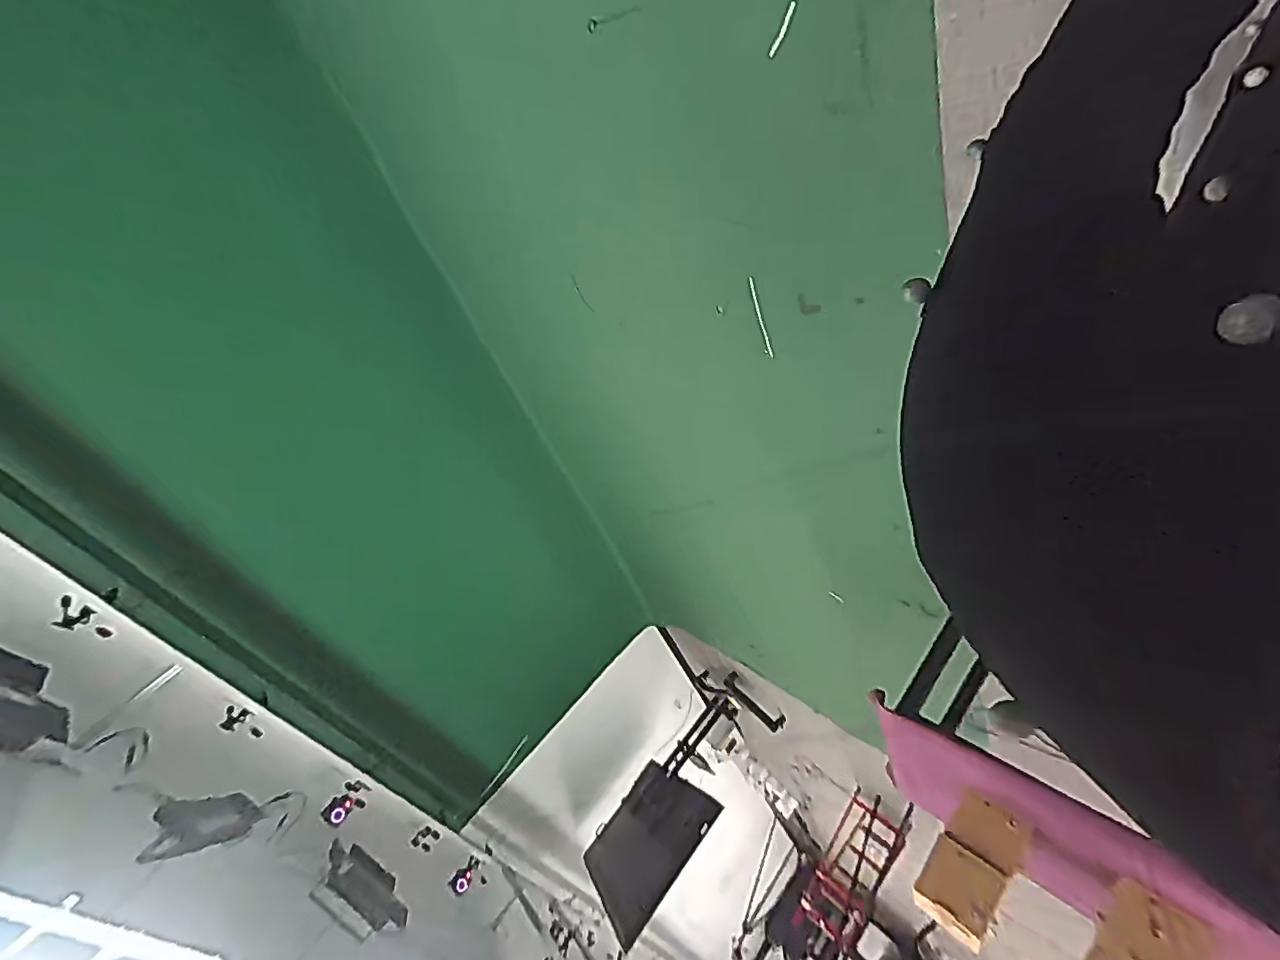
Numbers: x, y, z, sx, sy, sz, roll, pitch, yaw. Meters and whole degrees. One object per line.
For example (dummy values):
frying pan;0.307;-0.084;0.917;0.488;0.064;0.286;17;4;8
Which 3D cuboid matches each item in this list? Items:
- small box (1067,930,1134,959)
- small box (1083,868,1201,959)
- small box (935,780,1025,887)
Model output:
small box;1.072;1.175;1.226;0.168;0.176;0.179;23;148;44
small box;1.184;1.071;1.283;0.168;0.176;0.179;23;148;44
small box;0.963;0.995;1.533;0.168;0.176;0.179;25;149;44
